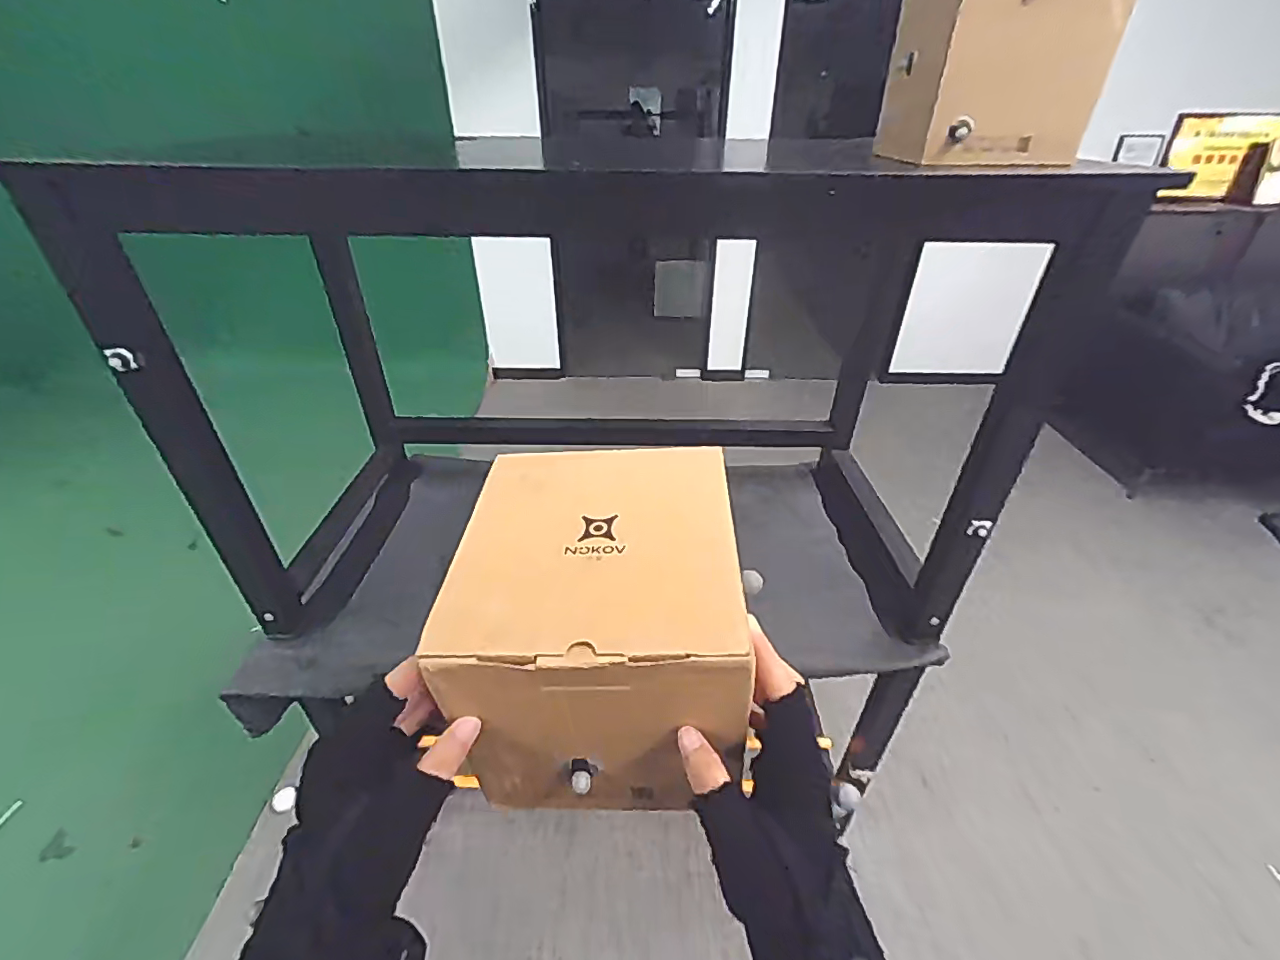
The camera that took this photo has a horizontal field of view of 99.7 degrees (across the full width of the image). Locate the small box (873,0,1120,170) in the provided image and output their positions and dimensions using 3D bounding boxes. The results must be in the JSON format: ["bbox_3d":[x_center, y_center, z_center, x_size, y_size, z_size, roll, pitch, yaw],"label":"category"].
[{"bbox_3d":[0.388,-0.455,0.618,0.168,0.176,0.179,2,33,3],"label":"small box"}]

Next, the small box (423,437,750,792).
[{"bbox_3d":[-0.021,0.087,0.377,0.168,0.176,0.179,-2,38,4],"label":"small box"}]
